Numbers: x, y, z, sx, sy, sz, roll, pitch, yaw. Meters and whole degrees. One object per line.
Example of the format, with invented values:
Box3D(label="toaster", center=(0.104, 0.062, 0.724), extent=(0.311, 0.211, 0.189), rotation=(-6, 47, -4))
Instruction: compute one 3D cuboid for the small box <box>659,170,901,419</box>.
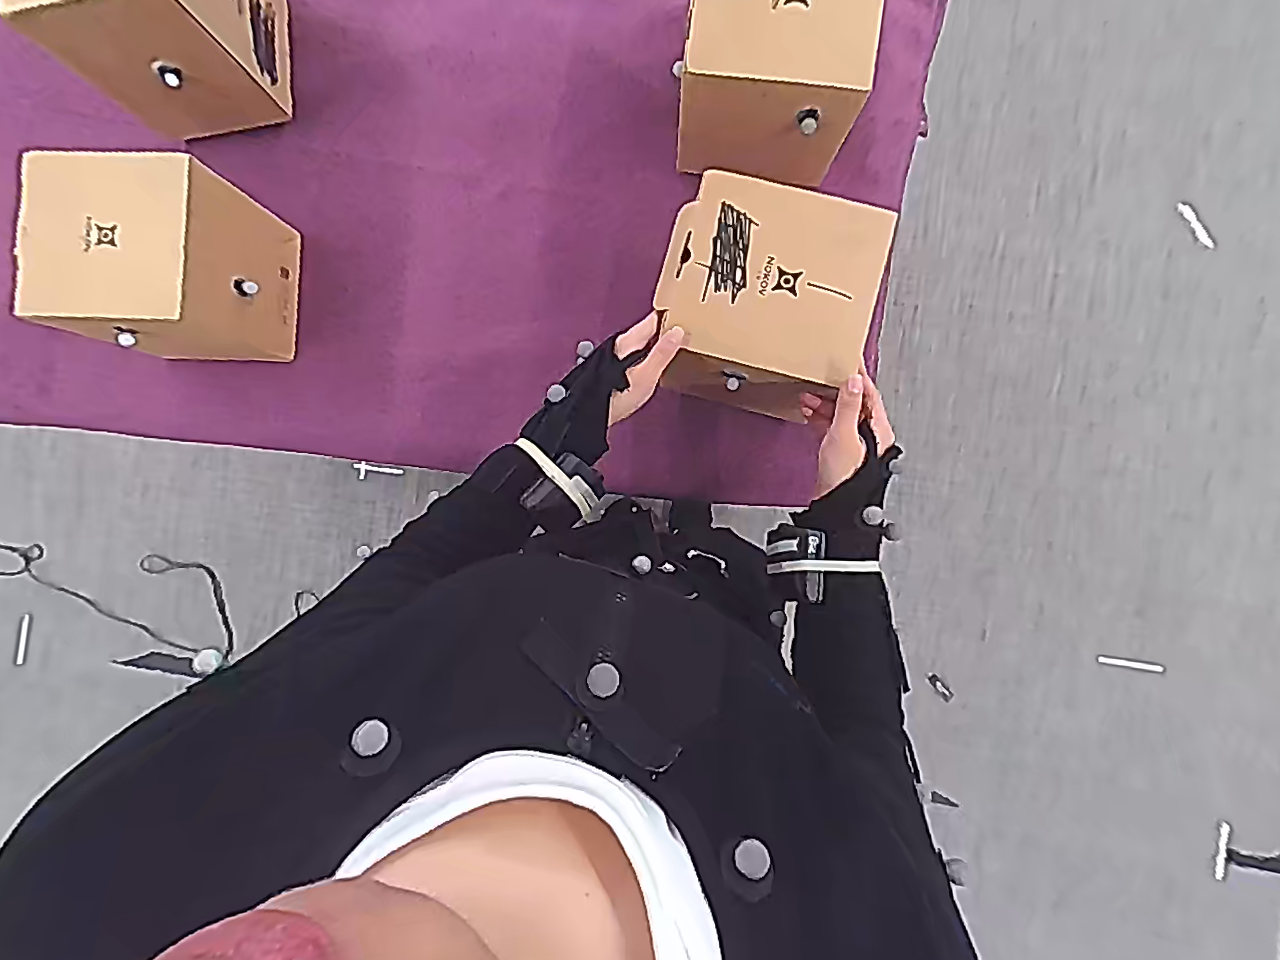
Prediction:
Box3D(label="small box", center=(0.124, -0.169, 0.547), extent=(0.179, 0.176, 0.168), rotation=(16, 88, 3))

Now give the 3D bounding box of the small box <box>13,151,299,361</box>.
Box3D(label="small box", center=(-0.517, -0.235, 0.603), extent=(0.179, 0.176, 0.168), rotation=(2, 89, 3))

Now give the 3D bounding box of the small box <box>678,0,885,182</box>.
Box3D(label="small box", center=(0.139, -0.443, 0.571), extent=(0.179, 0.176, 0.168), rotation=(8, 91, 3))
